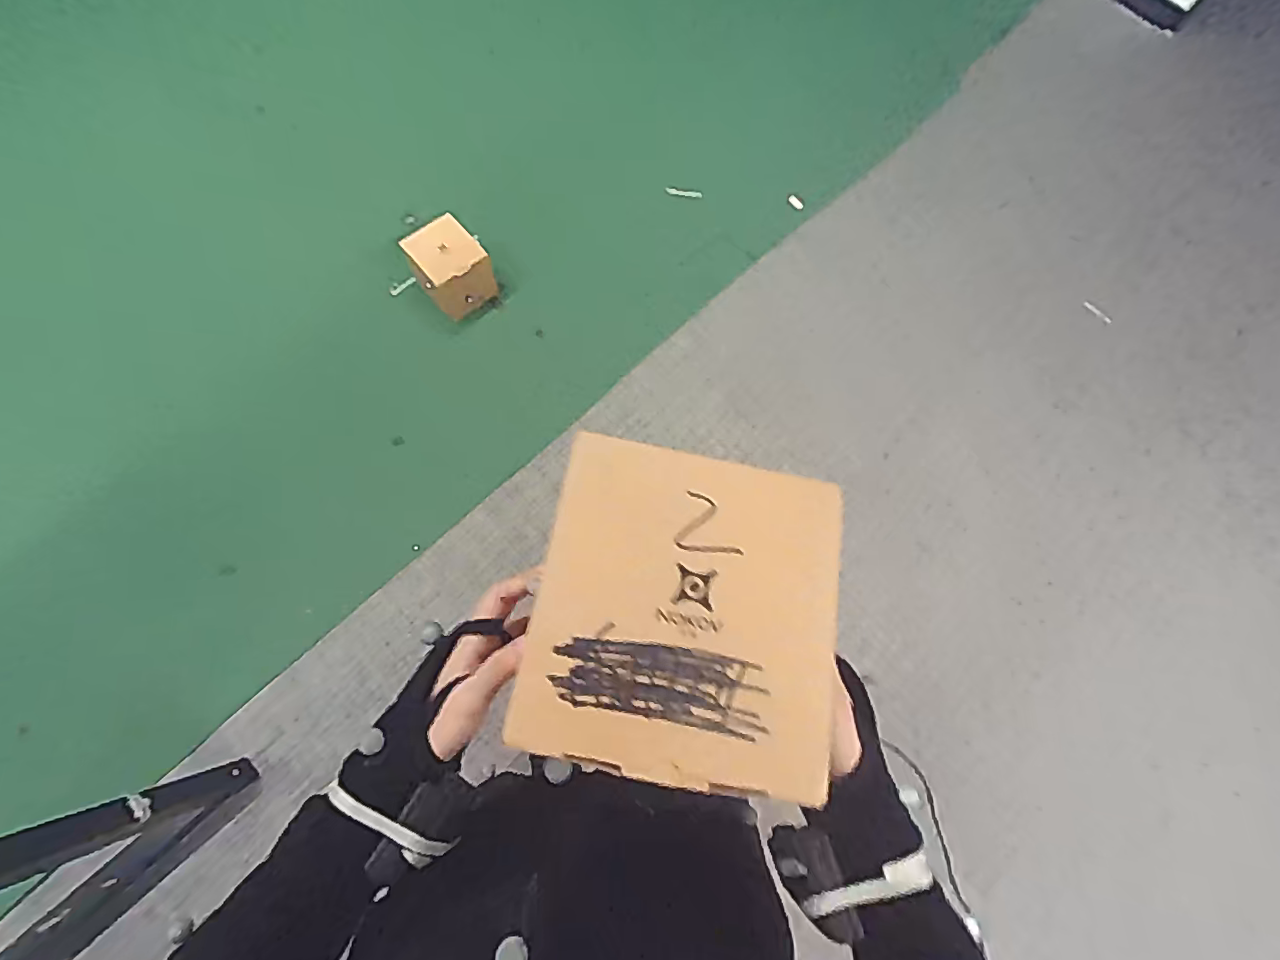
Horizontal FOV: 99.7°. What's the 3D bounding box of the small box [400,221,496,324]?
[{"bbox_3d":[-0.533,-0.577,1.521,0.168,0.176,0.179,-40,80,-15],"label":"small box"}]
